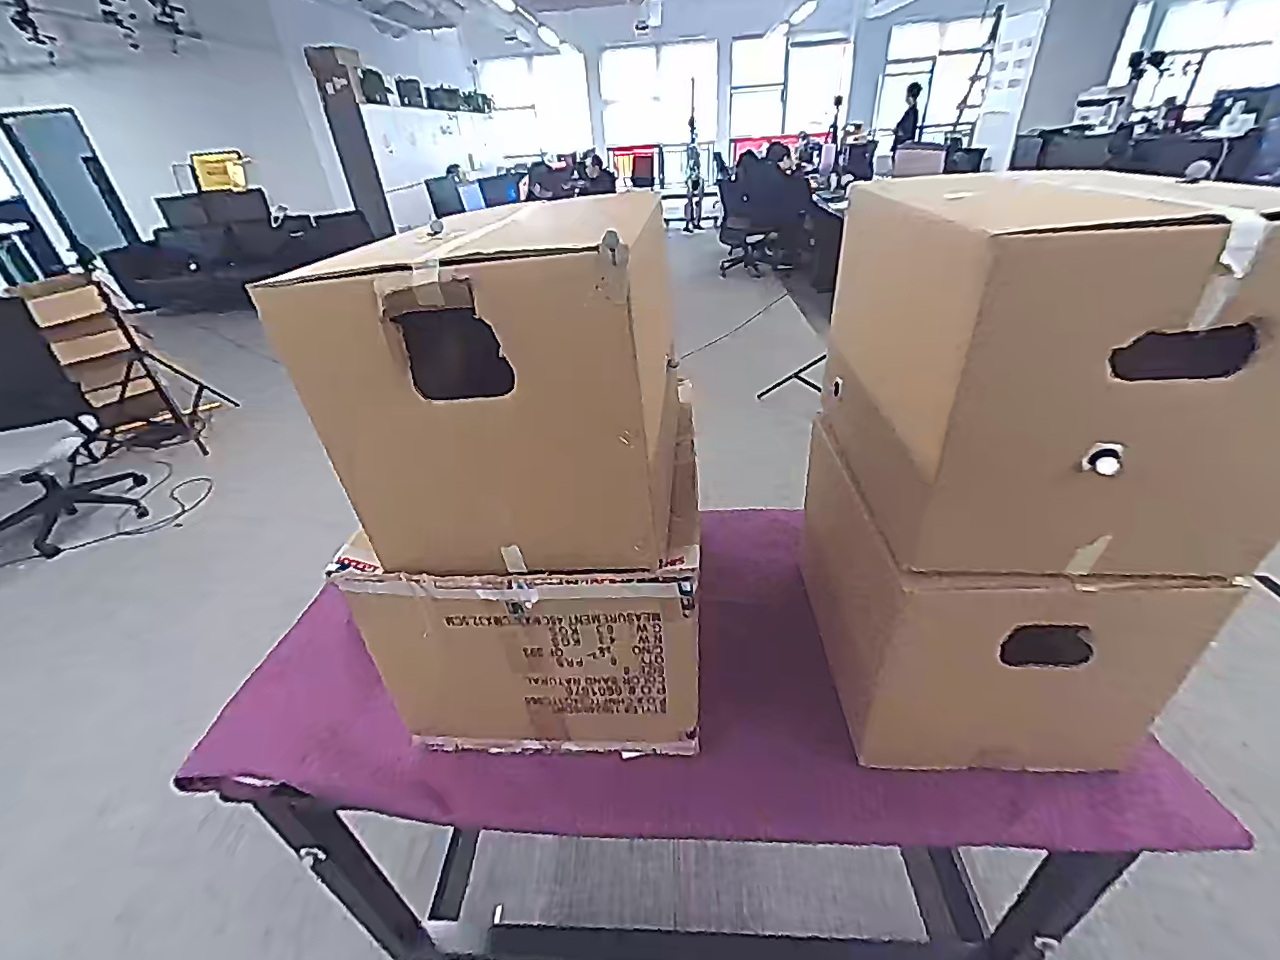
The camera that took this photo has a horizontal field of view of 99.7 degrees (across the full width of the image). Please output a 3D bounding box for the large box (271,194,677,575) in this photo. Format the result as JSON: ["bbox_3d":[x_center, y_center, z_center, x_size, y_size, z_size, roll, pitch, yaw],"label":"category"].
[{"bbox_3d":[-0.117,-0.138,0.654,0.320,0.320,0.408,-4,33,8],"label":"large box"}]
